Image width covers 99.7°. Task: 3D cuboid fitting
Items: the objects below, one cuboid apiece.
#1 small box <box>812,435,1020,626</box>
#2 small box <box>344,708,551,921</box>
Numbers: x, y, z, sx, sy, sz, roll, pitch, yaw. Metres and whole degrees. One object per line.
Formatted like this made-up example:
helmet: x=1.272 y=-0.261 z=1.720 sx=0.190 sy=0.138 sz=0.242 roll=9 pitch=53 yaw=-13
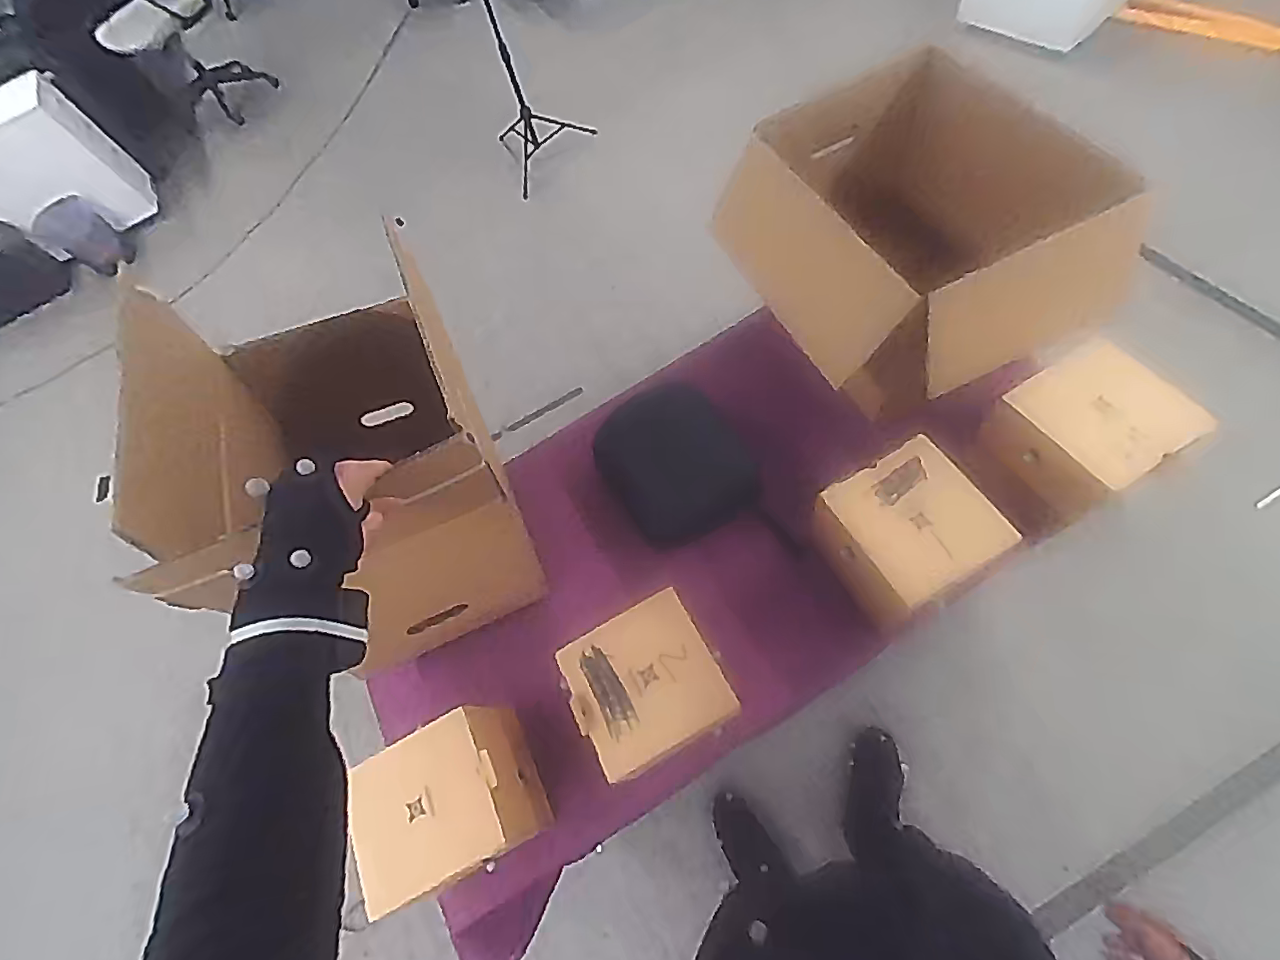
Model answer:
small box: x=0.357 y=0.077 z=0.746 sx=0.168 sy=0.176 sz=0.179 roll=-31 pitch=63 yaw=-2
small box: x=-0.243 y=0.424 z=0.710 sx=0.179 sy=0.176 sz=0.168 roll=-29 pitch=63 yaw=-4
